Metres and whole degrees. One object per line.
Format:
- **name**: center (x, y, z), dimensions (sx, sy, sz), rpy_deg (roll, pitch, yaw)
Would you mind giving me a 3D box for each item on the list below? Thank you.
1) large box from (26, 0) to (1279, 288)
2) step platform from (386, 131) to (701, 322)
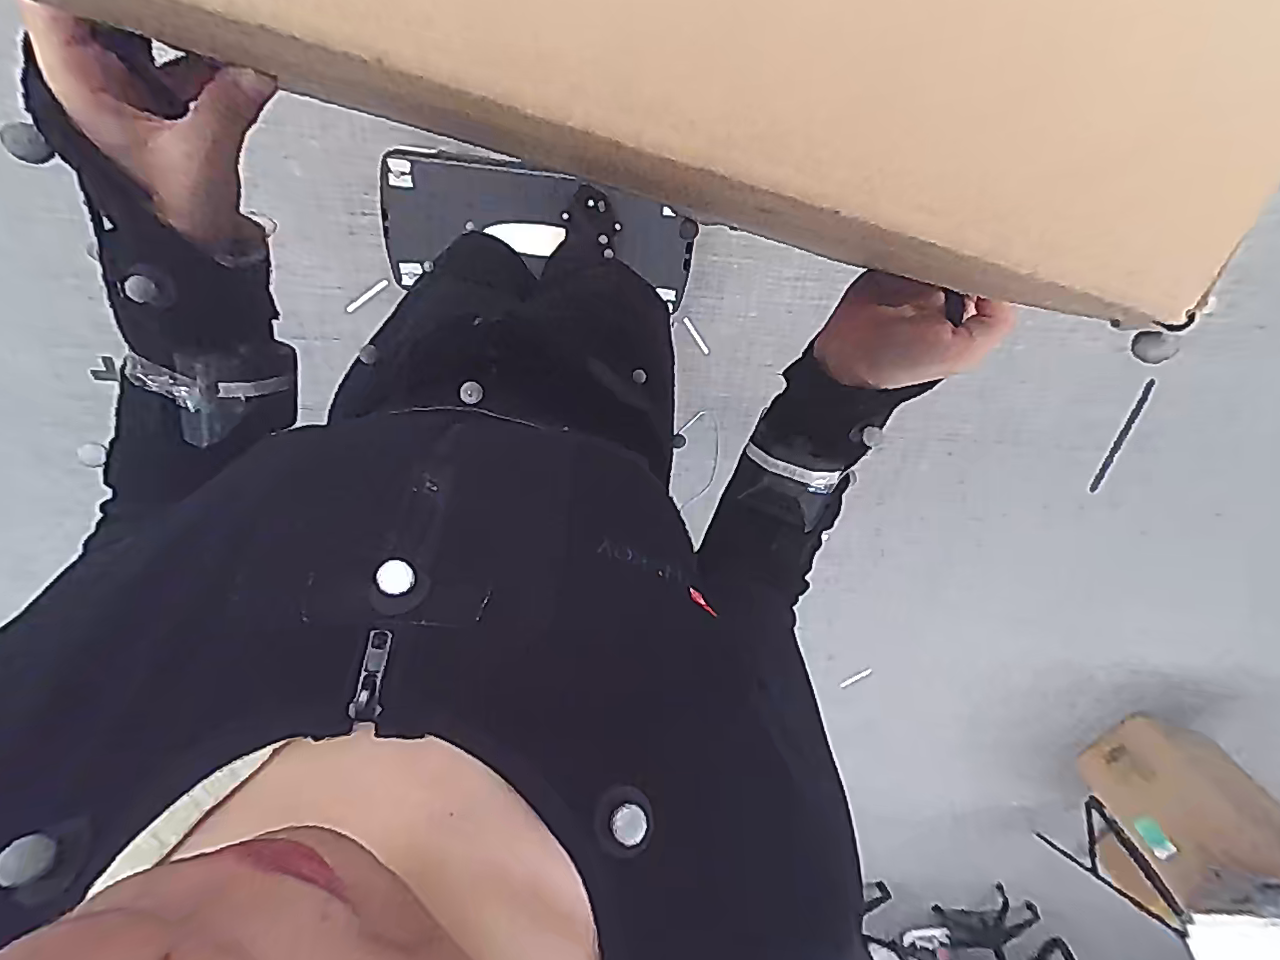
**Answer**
- **large box**: center (-0.003, -0.294, 0.202), dimensions (0.408, 0.320, 0.320), rpy_deg (11, 117, -9)
- **step platform**: center (-0.207, -0.569, 1.241), dimensions (0.684, 0.204, 0.286), rpy_deg (7, 120, -9)
